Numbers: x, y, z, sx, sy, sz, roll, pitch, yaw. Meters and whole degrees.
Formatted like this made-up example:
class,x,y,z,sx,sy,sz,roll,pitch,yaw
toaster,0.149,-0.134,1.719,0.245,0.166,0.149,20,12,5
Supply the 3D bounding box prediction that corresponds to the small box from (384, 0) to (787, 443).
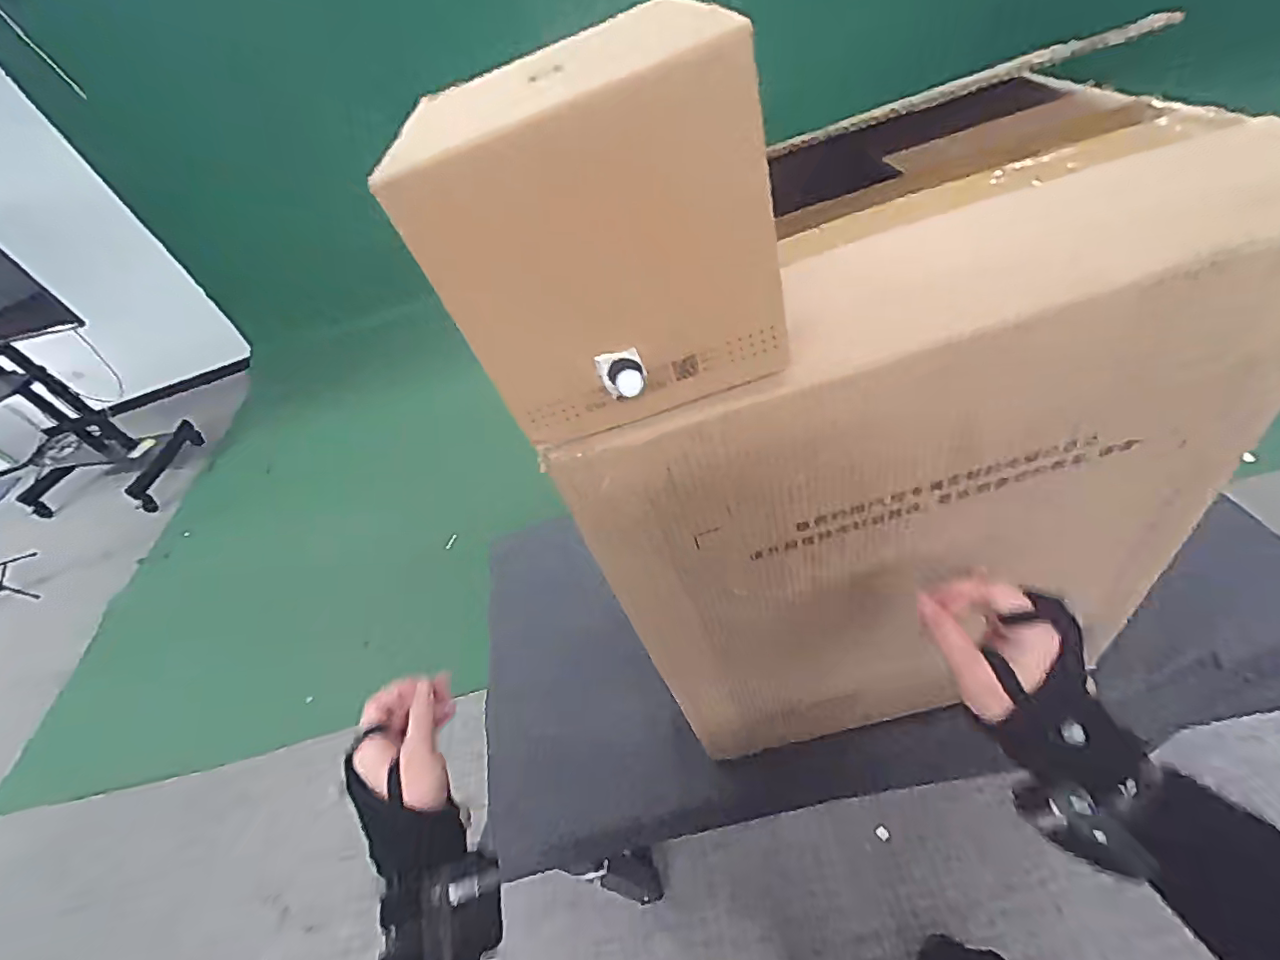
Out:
class,x,y,z,sx,sy,sz,roll,pitch,yaw
small box,-0.022,-0.154,0.333,0.168,0.176,0.179,-20,46,5
